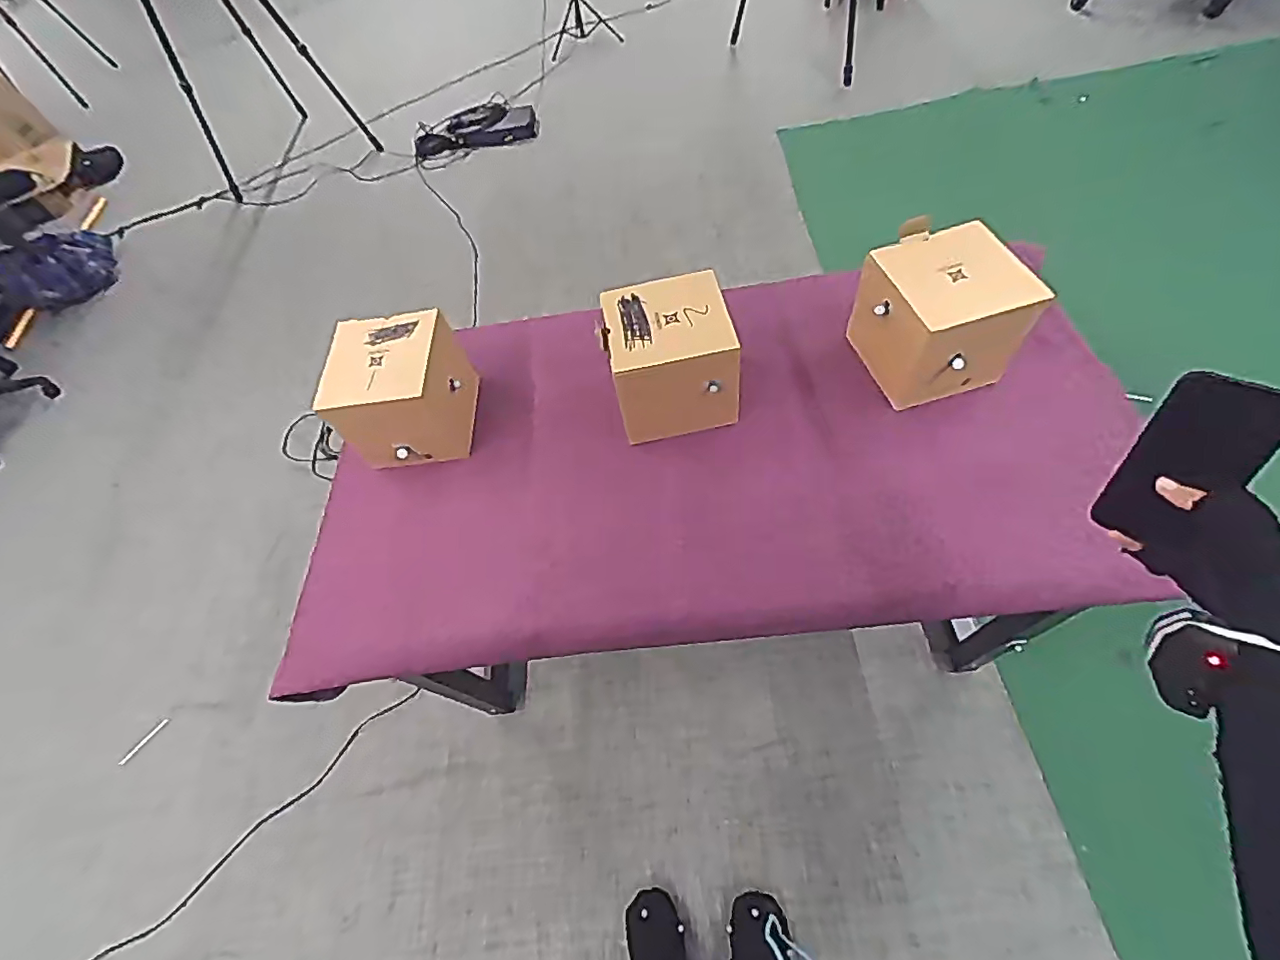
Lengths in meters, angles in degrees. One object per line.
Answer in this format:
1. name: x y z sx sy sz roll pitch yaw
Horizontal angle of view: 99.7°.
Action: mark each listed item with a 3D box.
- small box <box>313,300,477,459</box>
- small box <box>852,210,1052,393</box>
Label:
1. small box: -0.372 -0.154 0.860 0.168 0.176 0.179 -6 61 5
2. small box: 0.433 -0.248 0.787 0.168 0.176 0.179 -16 58 0
